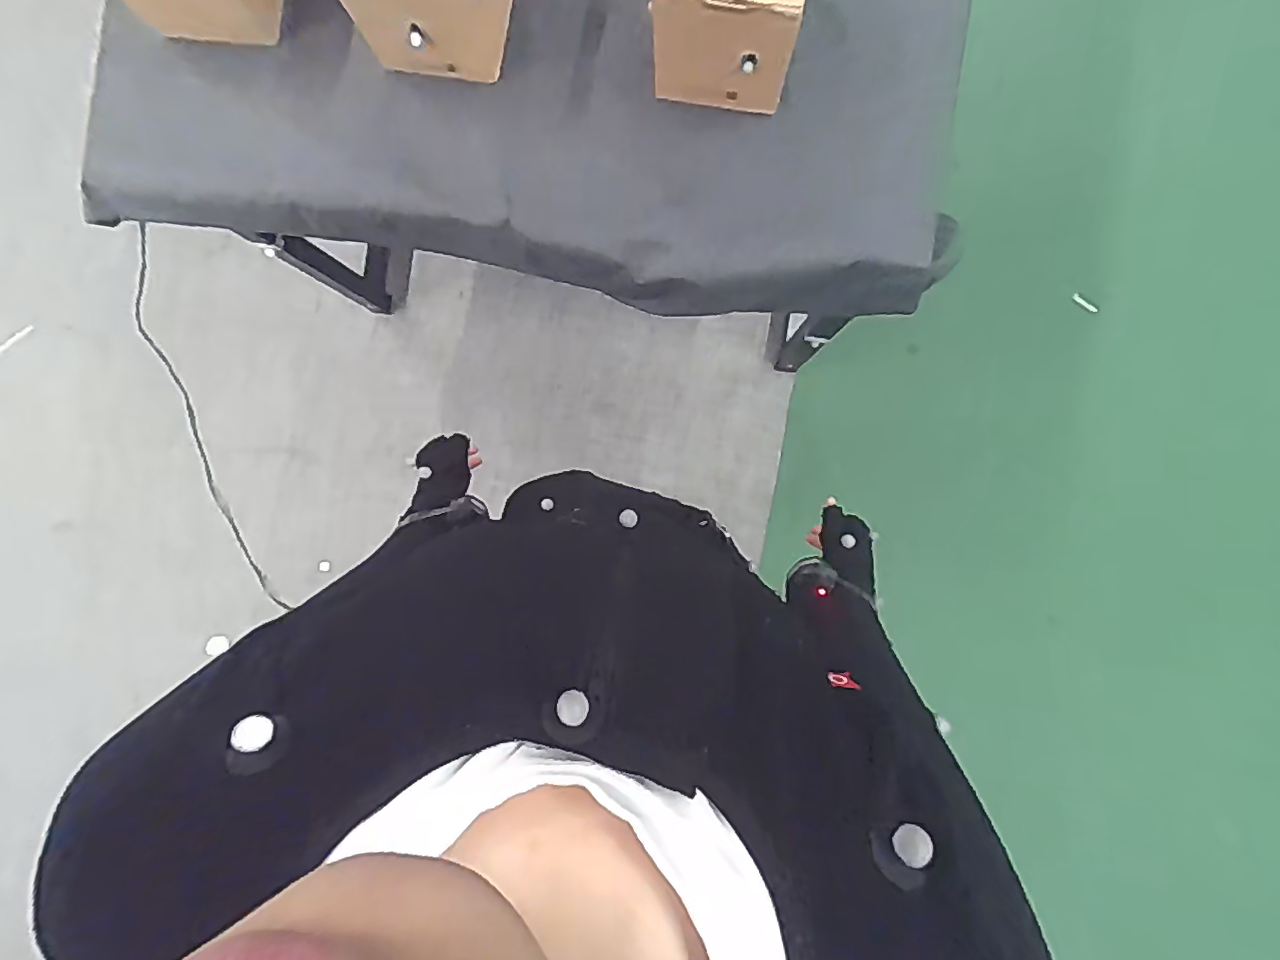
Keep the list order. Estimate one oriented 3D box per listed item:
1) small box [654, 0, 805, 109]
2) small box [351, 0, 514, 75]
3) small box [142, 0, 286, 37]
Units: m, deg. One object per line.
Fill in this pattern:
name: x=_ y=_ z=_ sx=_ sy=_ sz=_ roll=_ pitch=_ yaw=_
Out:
small box: x=0.116 y=-0.595 z=0.654 sx=0.168 sy=0.176 sz=0.179 roll=11 pitch=89 yaw=2
small box: x=-0.262 y=-0.654 z=0.674 sx=0.168 sy=0.176 sz=0.179 roll=10 pitch=91 yaw=3
small box: x=-0.587 y=-0.716 z=0.690 sx=0.179 sy=0.176 sz=0.168 roll=7 pitch=90 yaw=2
